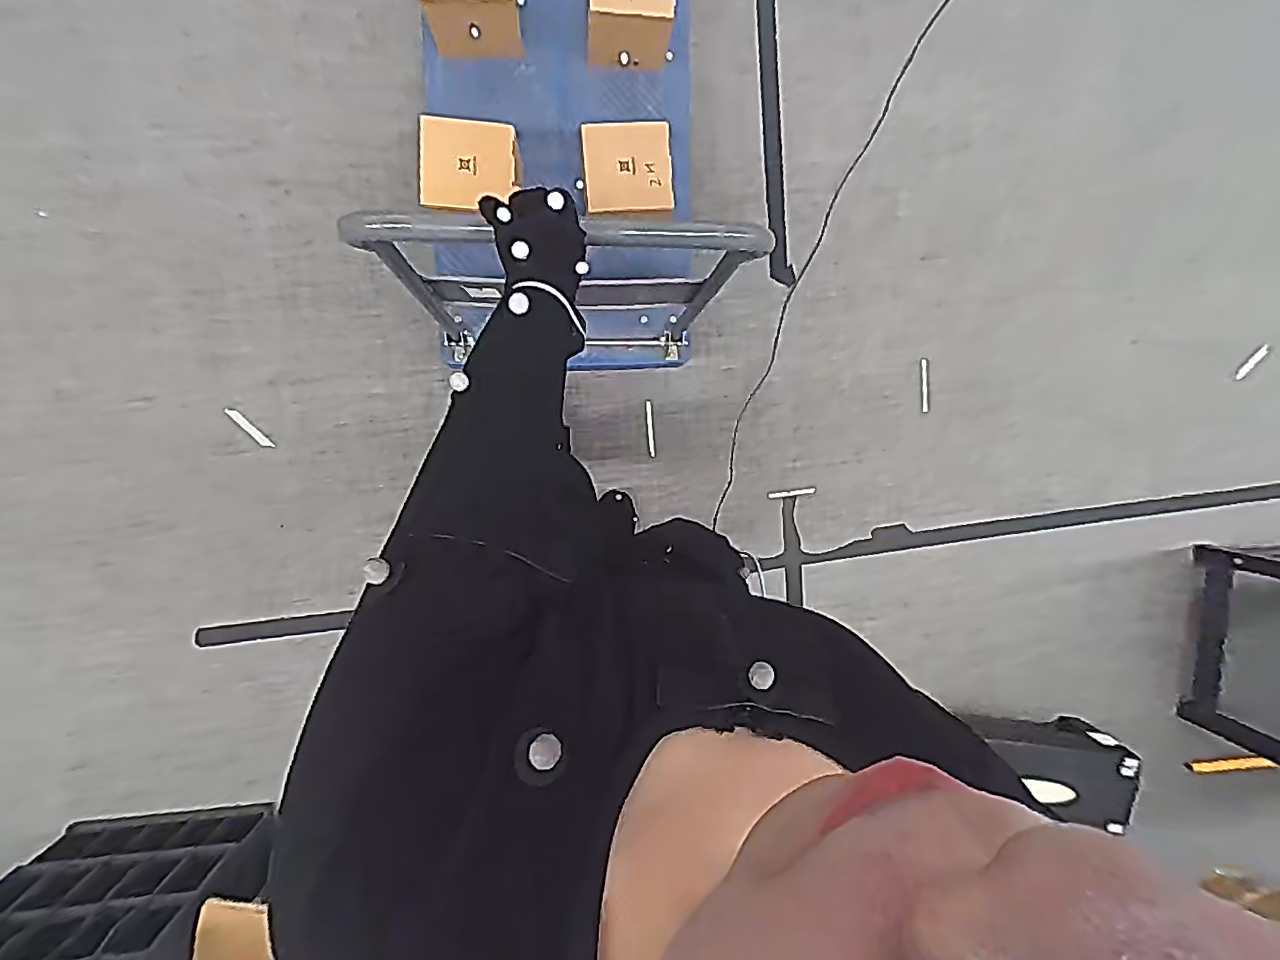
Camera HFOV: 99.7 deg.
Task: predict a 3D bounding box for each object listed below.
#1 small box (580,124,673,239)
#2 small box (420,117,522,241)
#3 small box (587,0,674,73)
[{"bbox_3d":[-0.033,-0.623,1.145,0.179,0.176,0.168,-5,97,-6],"label":"small box"},{"bbox_3d":[-0.340,-0.607,1.110,0.179,0.176,0.168,1,95,-9],"label":"small box"},{"bbox_3d":[-0.025,-0.987,1.109,0.168,0.176,0.179,0,97,-7],"label":"small box"}]
